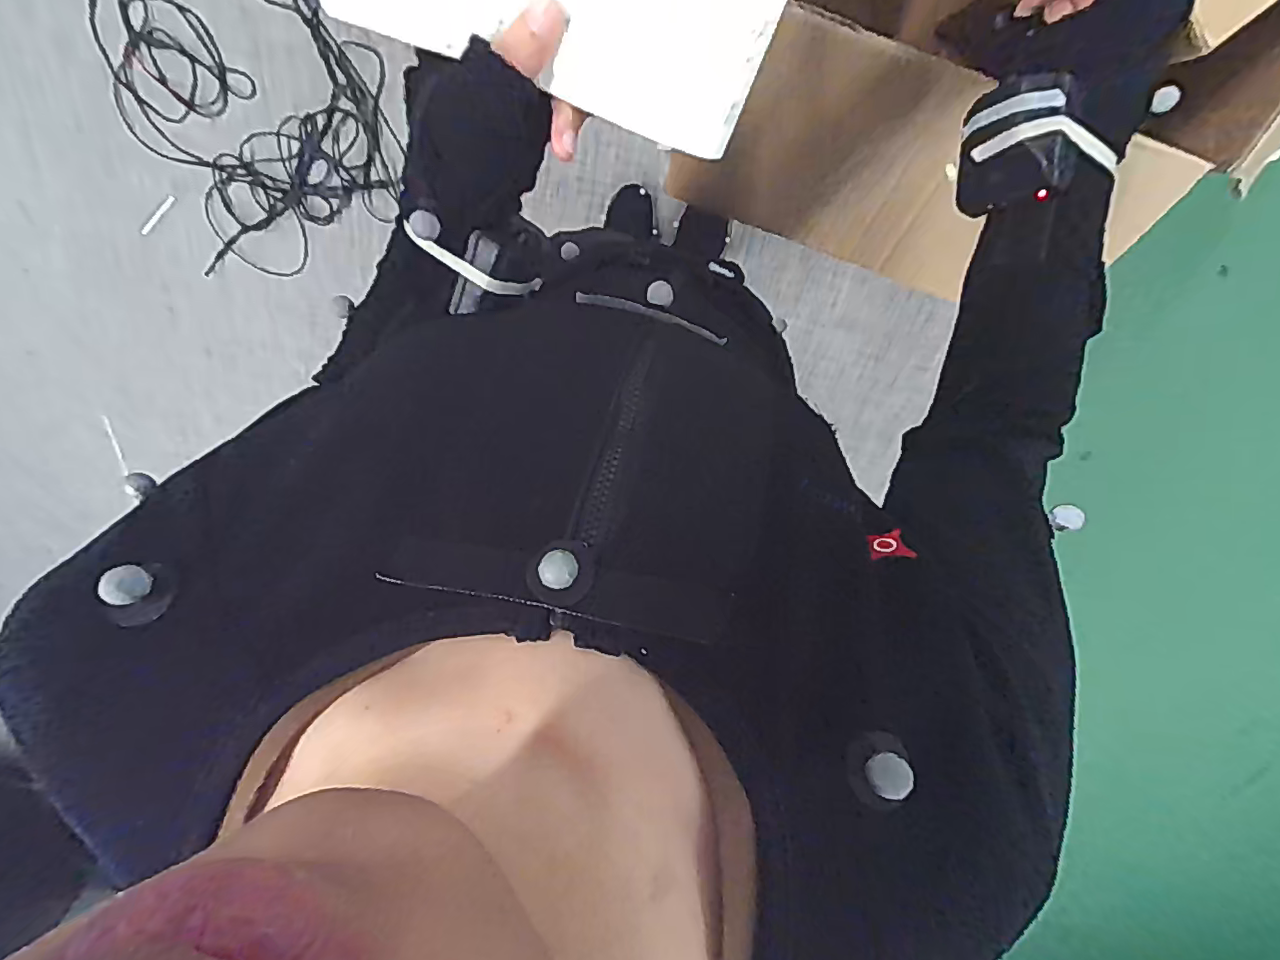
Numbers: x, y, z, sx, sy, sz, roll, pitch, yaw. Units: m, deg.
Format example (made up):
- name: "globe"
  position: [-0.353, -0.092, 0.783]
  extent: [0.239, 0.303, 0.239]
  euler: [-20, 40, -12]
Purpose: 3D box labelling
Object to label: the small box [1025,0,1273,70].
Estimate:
- name: "small box"
  position: [0.380, -0.419, 0.354]
  extent: [0.179, 0.176, 0.168]
  euler: [-38, 110, 24]
